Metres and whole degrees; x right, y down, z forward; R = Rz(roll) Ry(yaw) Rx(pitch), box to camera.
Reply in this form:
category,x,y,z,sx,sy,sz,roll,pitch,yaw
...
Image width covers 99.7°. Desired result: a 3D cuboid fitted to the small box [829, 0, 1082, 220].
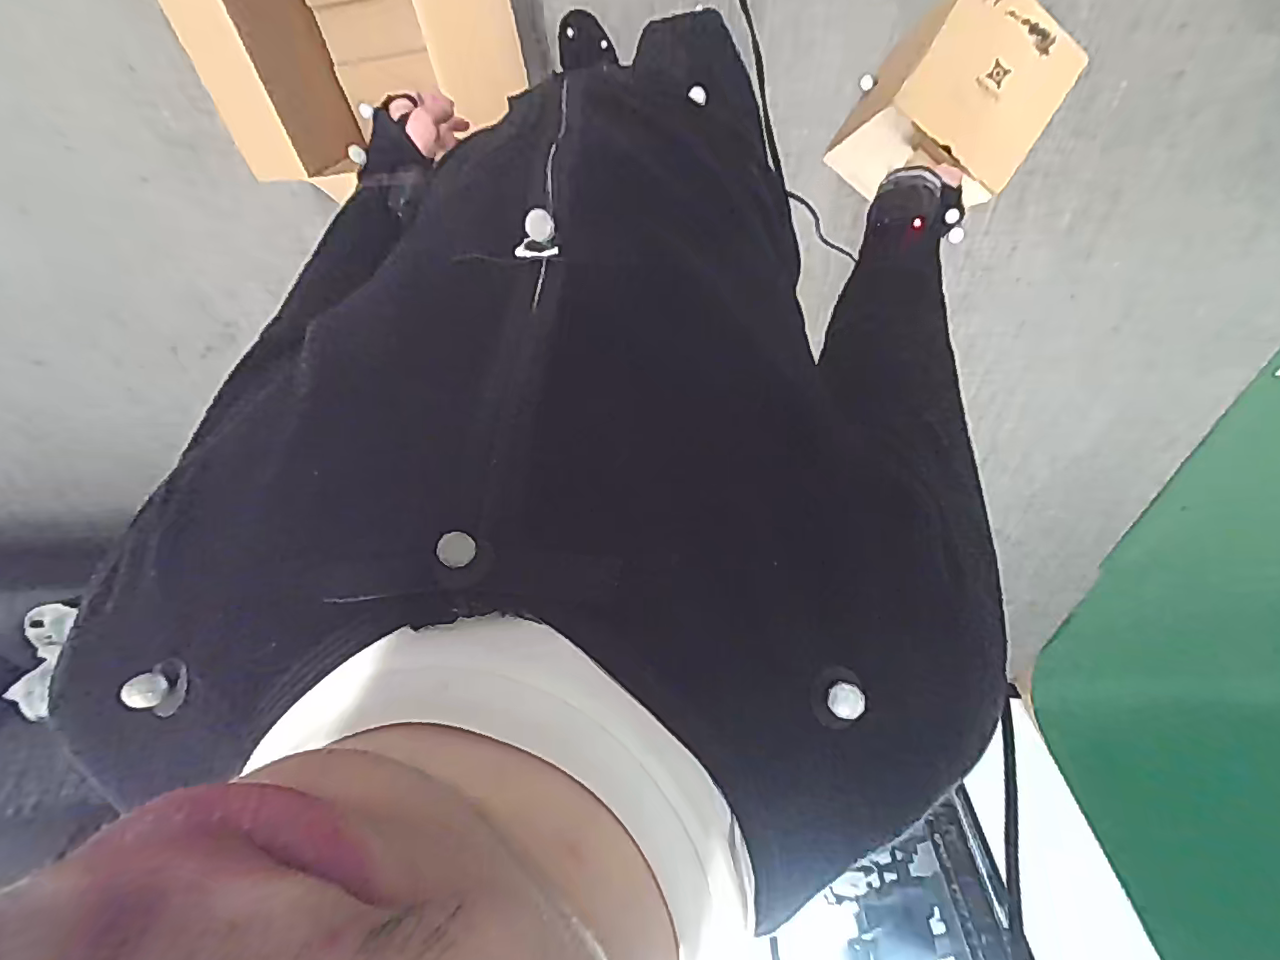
category,x,y,z,sx,sy,sz,roll,pitch,yaw
small box,0.361,-0.453,0.659,0.168,0.176,0.179,32,96,-14
